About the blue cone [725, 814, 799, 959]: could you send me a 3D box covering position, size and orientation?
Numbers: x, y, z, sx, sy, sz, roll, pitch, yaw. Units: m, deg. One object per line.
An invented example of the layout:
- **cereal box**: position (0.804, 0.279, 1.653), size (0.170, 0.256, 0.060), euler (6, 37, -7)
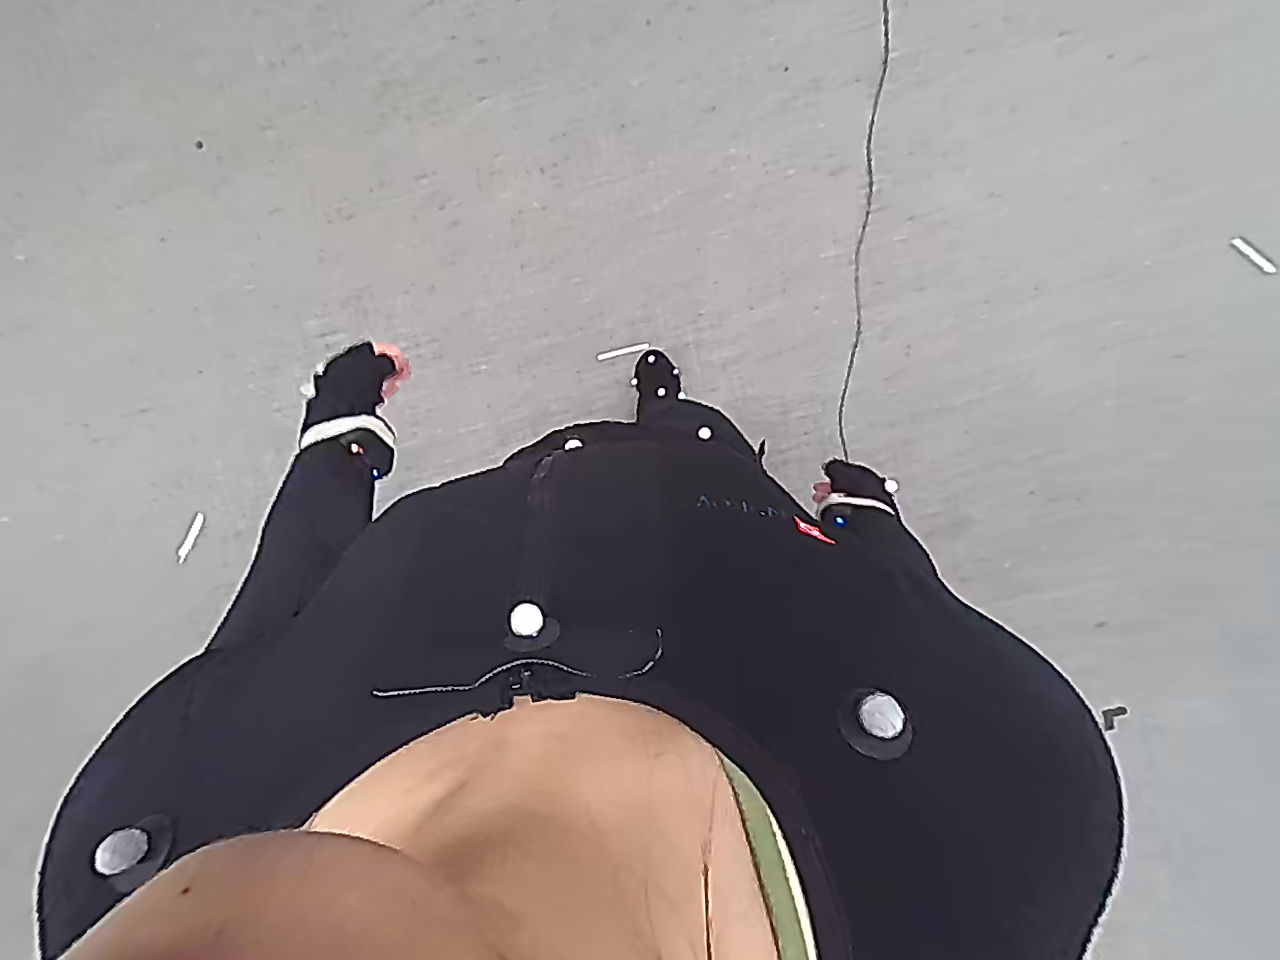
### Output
- **blue cone**: position (0.354, 1.104, 1.435), size (0.193, 0.380, 0.192), euler (-15, 97, 2)
